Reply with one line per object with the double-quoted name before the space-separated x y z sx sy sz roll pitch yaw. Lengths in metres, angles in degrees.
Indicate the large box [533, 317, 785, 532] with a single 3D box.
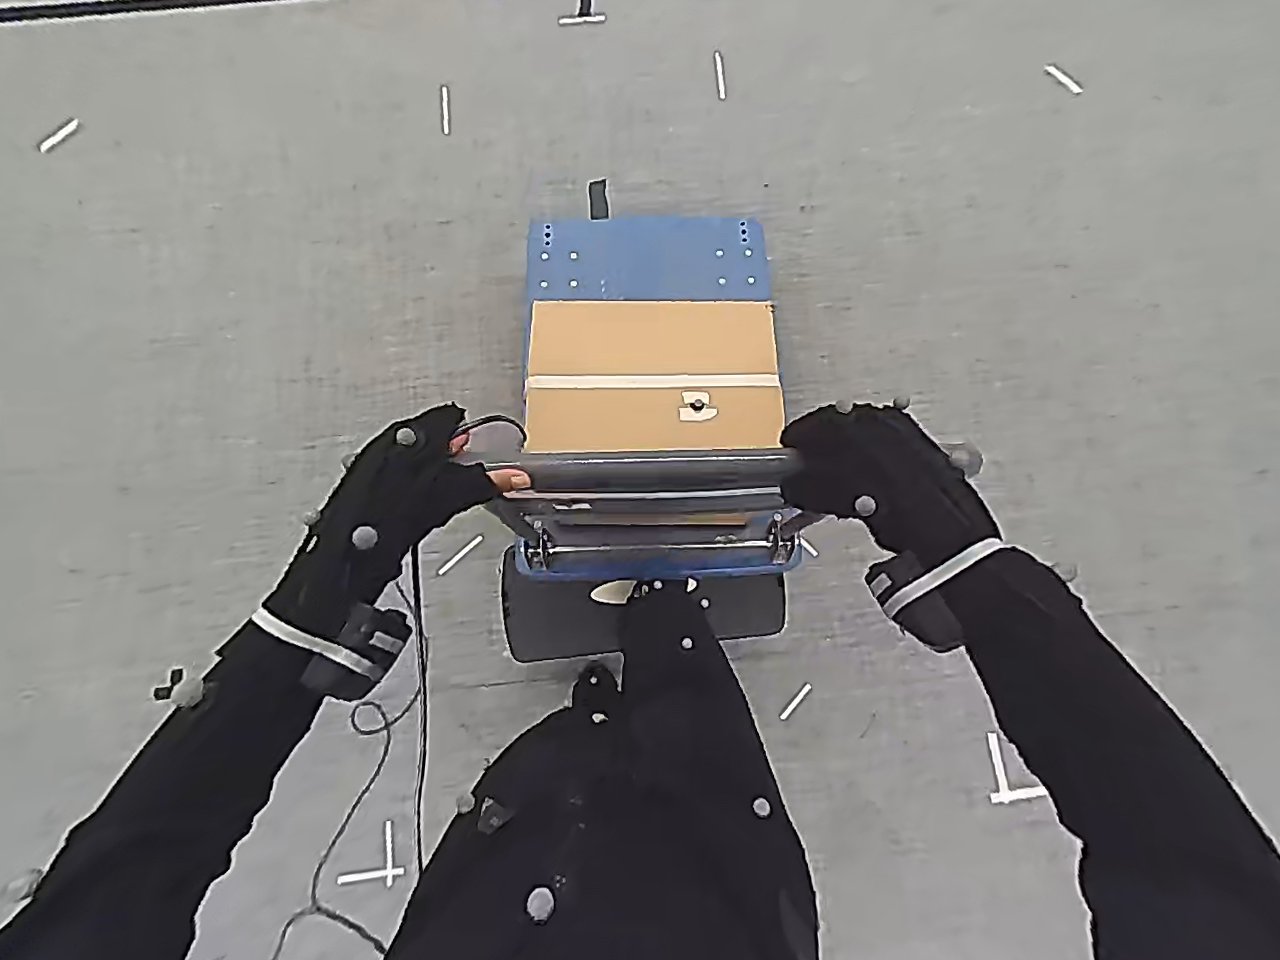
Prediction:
"large box" 0.023 -0.089 1.028 0.408 0.320 0.320 0 71 -2
